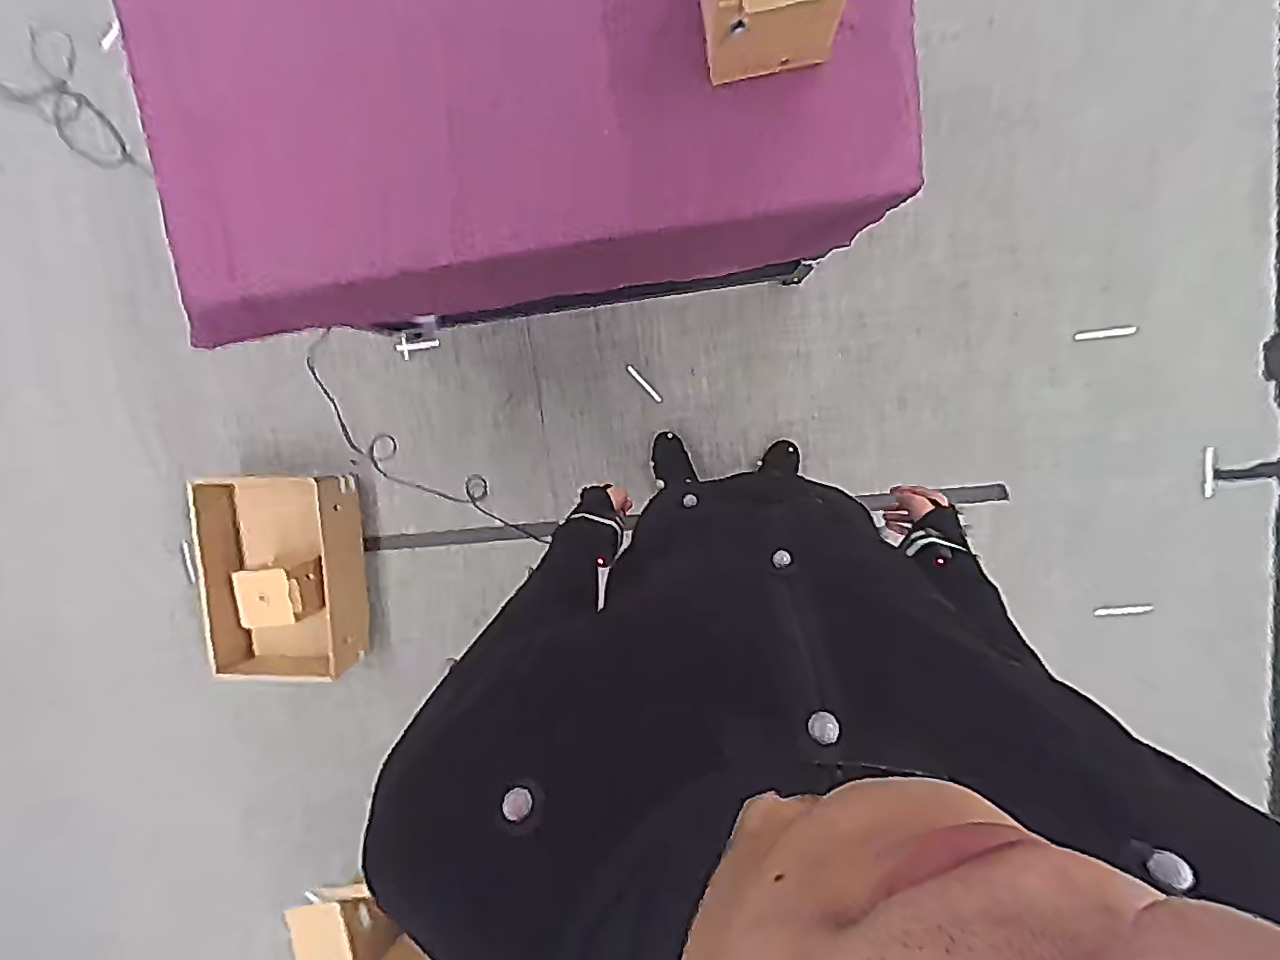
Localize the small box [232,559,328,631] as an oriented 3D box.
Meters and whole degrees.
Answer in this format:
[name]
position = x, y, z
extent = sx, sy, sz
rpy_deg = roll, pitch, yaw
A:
[small box]
position = -1.080, 0.342, 1.641
extent = 0.179, 0.176, 0.168
rpy_deg = -6, 96, 5
